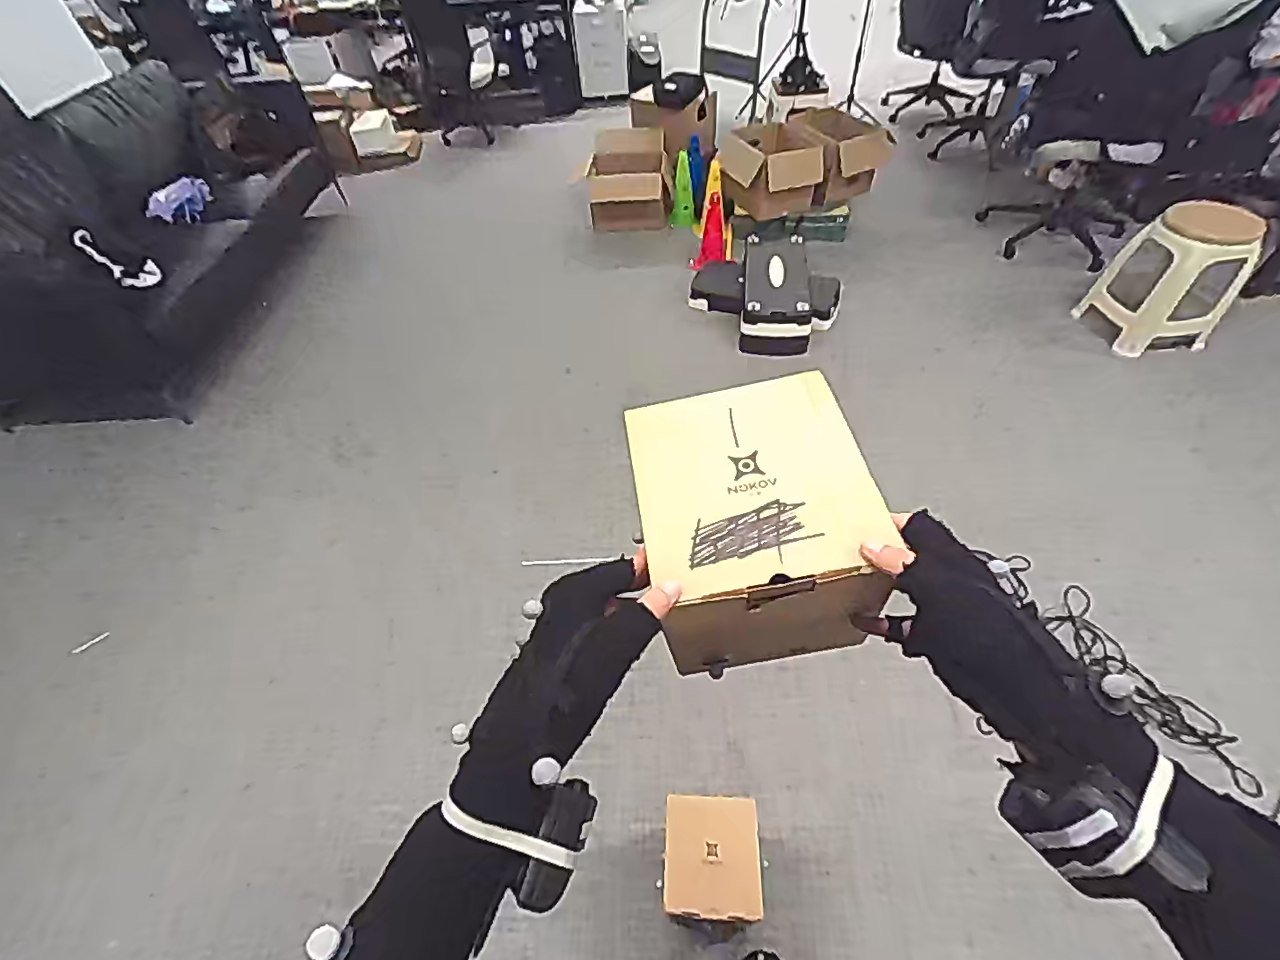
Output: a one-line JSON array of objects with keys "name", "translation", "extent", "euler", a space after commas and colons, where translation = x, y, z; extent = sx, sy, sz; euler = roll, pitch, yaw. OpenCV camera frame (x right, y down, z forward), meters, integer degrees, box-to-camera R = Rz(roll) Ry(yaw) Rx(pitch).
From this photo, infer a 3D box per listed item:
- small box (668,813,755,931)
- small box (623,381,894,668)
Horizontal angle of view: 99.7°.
[{"name": "small box", "translation": [0.148, 0.816, 1.126], "extent": [0.168, 0.176, 0.179], "euler": [1, 50, 7]}, {"name": "small box", "translation": [0.088, 0.048, 0.461], "extent": [0.168, 0.176, 0.179], "euler": [-11, 53, 3]}]
